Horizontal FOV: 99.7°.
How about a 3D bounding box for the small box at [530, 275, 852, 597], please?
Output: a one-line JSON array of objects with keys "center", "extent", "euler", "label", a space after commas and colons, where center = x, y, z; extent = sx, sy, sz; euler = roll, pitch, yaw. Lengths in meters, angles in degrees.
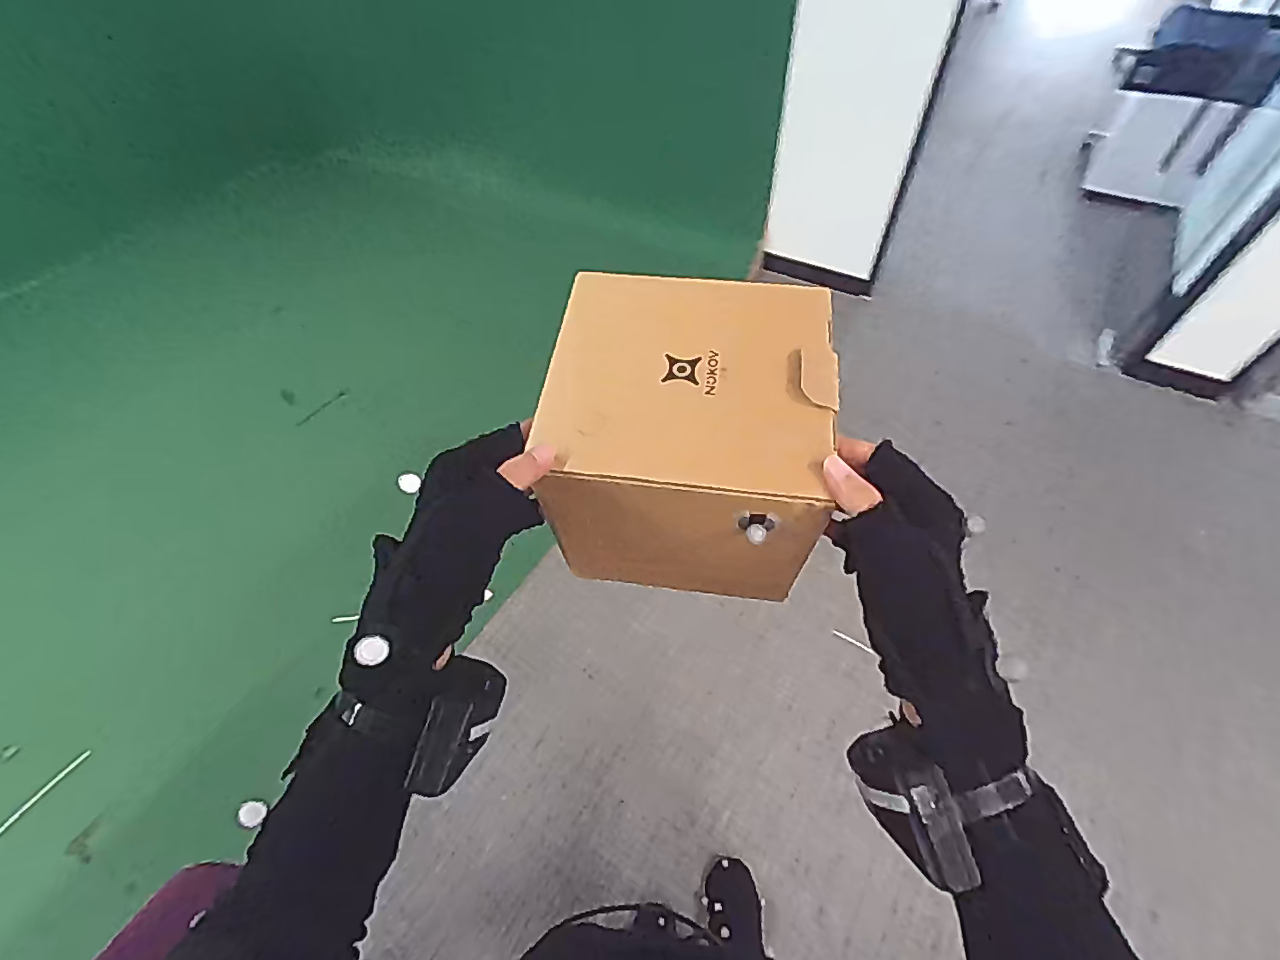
[{"center": [0.039, -0.024, 0.396], "extent": [0.179, 0.176, 0.168], "euler": [6, 60, 6], "label": "small box"}]
